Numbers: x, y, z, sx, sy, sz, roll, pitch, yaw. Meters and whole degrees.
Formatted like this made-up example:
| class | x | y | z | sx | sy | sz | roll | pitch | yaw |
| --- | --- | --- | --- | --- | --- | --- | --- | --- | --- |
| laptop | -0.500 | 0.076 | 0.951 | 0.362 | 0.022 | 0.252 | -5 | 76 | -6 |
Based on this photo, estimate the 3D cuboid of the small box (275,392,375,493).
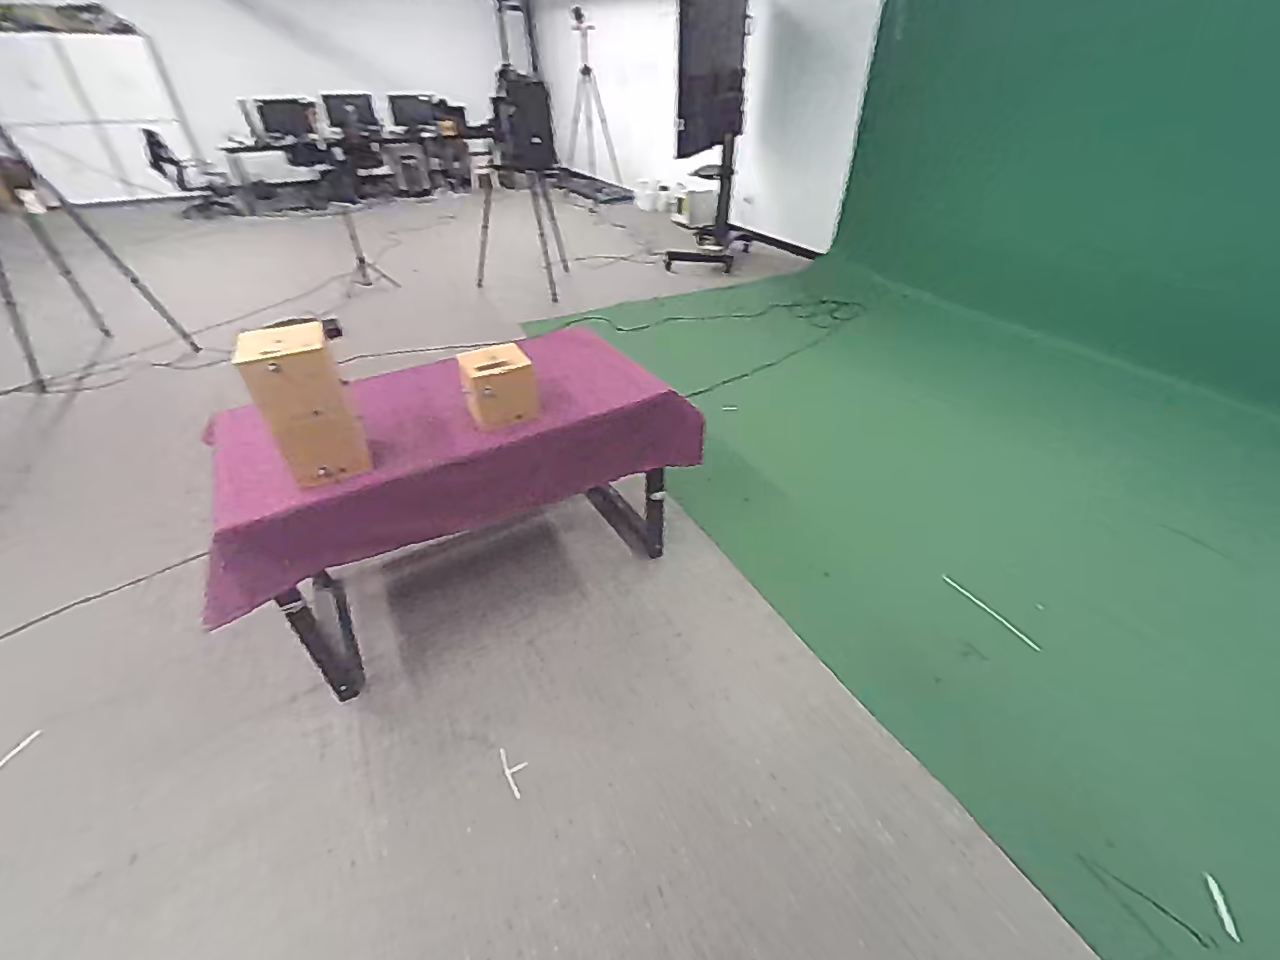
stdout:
| class | x | y | z | sx | sy | sz | roll | pitch | yaw |
| --- | --- | --- | --- | --- | --- | --- | --- | --- | --- |
| small box | -0.771 | -0.095 | 1.334 | 0.168 | 0.176 | 0.179 | -18 | 41 | -20 |

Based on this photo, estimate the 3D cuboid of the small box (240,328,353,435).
| class | x | y | z | sx | sy | sz | roll | pitch | yaw |
| --- | --- | --- | --- | --- | --- | --- | --- | --- | --- |
| small box | -0.775 | -0.226 | 1.234 | 0.168 | 0.176 | 0.179 | -19 | 39 | -19 |
